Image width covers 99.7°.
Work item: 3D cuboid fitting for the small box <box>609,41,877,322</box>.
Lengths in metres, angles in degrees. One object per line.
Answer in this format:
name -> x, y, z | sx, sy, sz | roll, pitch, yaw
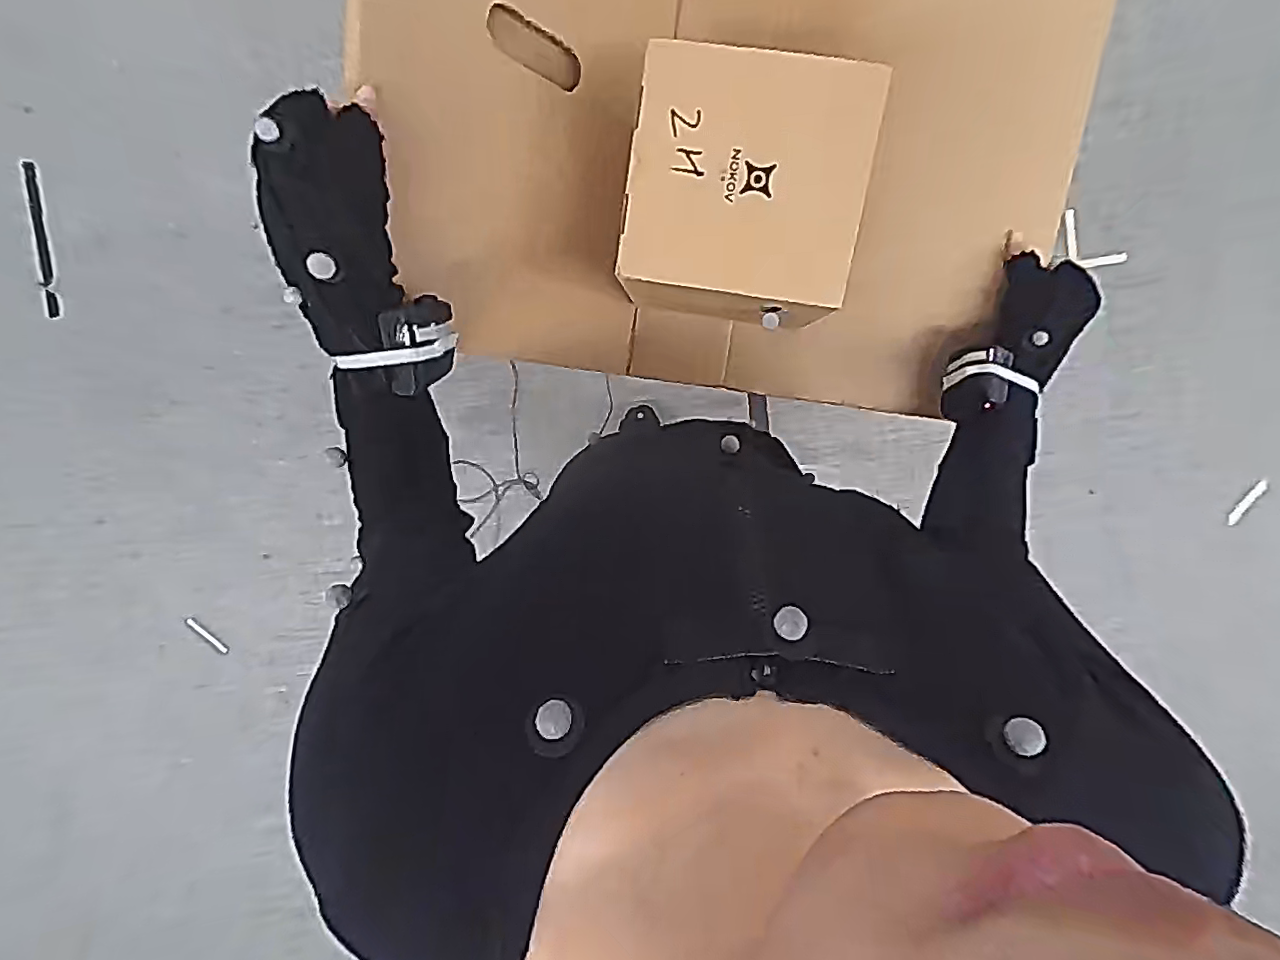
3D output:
small box -> 0.080, -0.242, 0.483 | 0.179, 0.176, 0.168 | 9, 100, 4
